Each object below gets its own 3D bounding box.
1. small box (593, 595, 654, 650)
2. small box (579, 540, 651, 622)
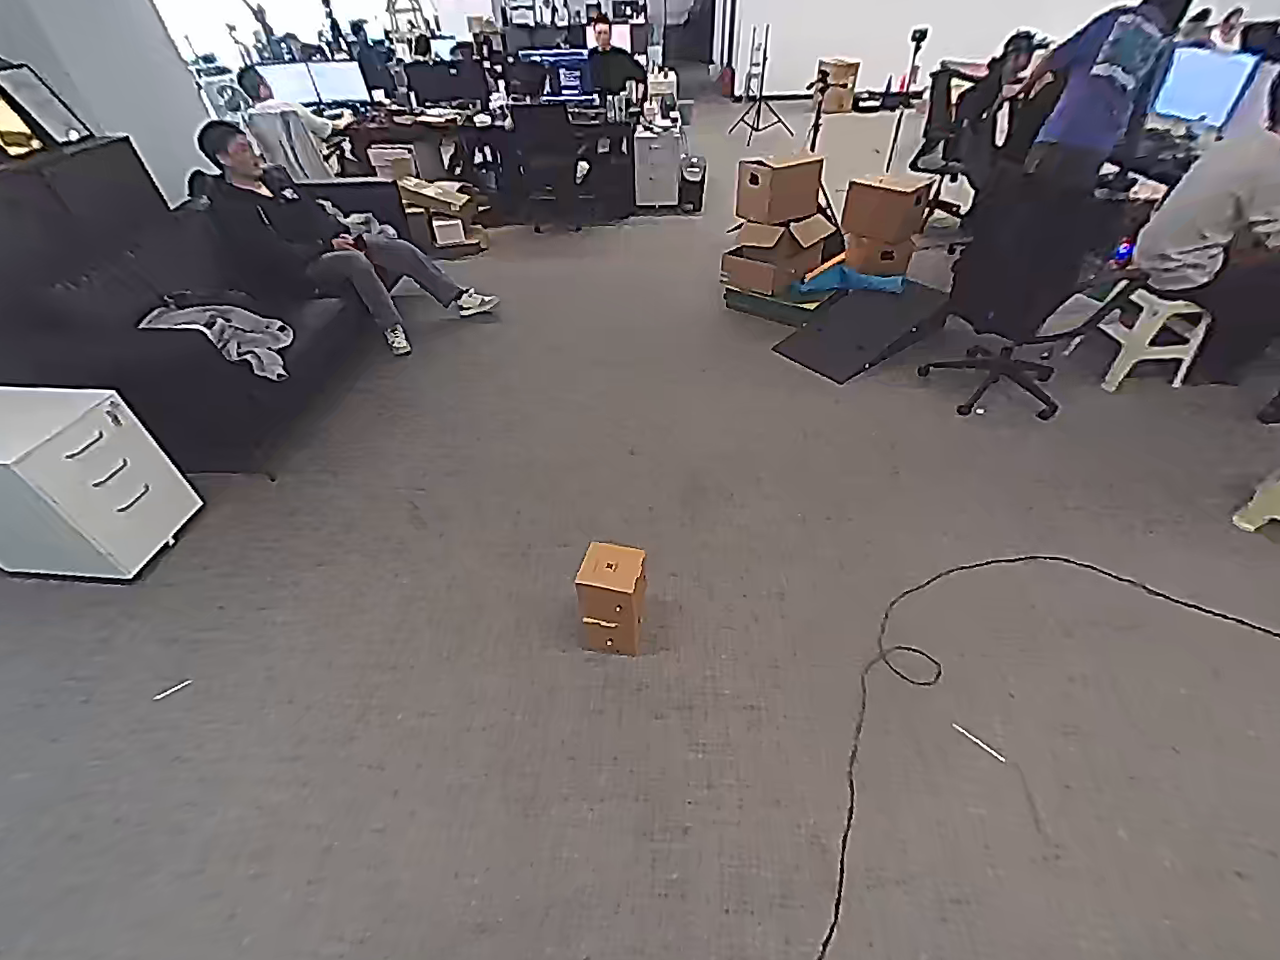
[{"bbox_3d":[-0.063,0.422,1.760,0.179,0.176,0.168,-16,42,-12],"label":"small box"},{"bbox_3d":[-0.067,0.311,1.652,0.179,0.176,0.168,8,41,14],"label":"small box"}]
